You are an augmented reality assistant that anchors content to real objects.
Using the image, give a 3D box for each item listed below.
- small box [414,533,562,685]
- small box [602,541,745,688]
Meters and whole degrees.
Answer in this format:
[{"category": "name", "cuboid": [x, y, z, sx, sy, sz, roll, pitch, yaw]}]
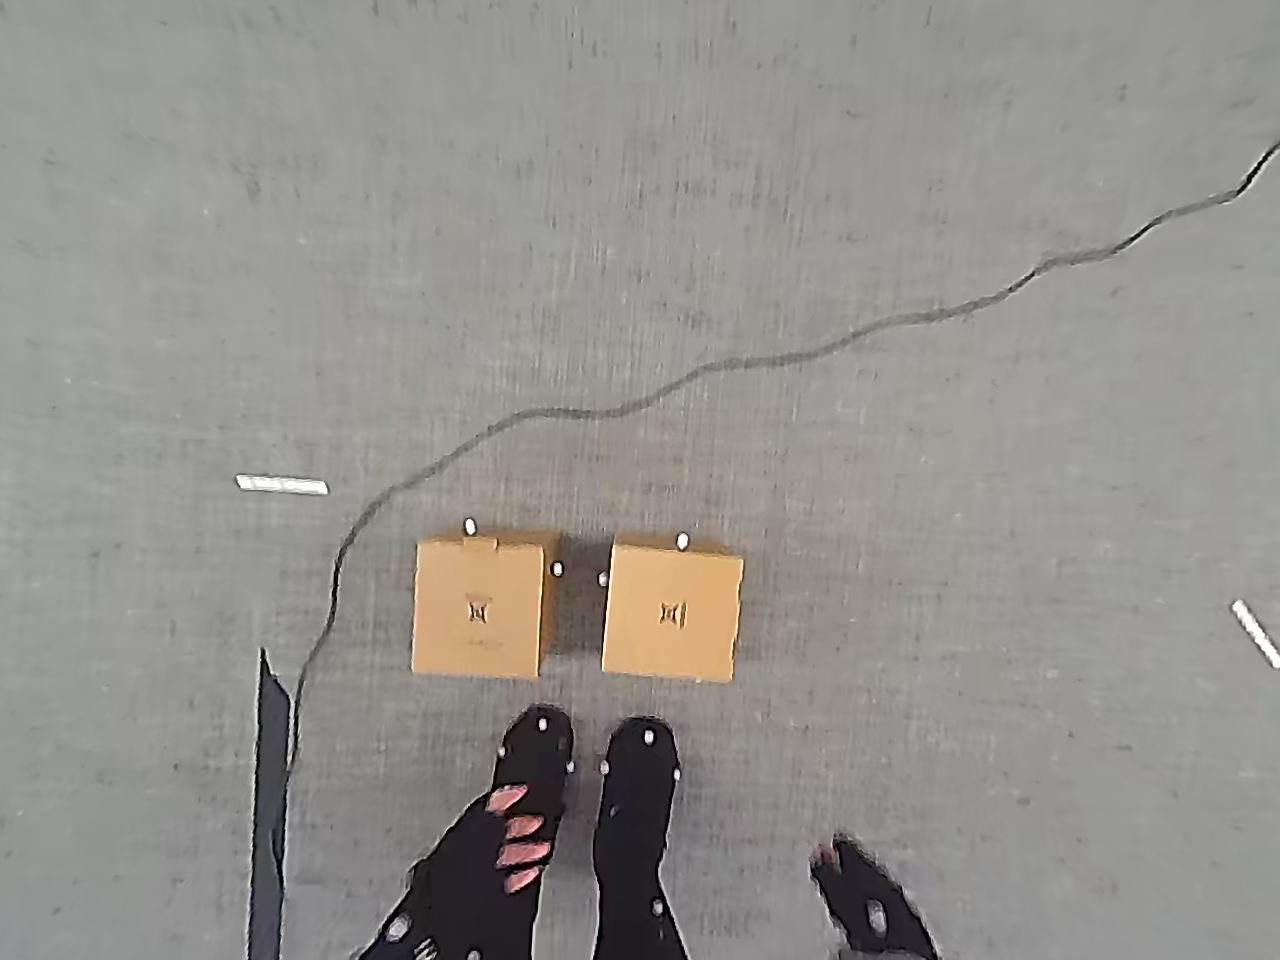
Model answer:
[{"category": "small box", "cuboid": [-0.208, 0.175, 0.785, 0.168, 0.176, 0.179, 4, 92, 0]}, {"category": "small box", "cuboid": [0.042, 0.185, 0.792, 0.179, 0.176, 0.168, 6, 91, -2]}]
